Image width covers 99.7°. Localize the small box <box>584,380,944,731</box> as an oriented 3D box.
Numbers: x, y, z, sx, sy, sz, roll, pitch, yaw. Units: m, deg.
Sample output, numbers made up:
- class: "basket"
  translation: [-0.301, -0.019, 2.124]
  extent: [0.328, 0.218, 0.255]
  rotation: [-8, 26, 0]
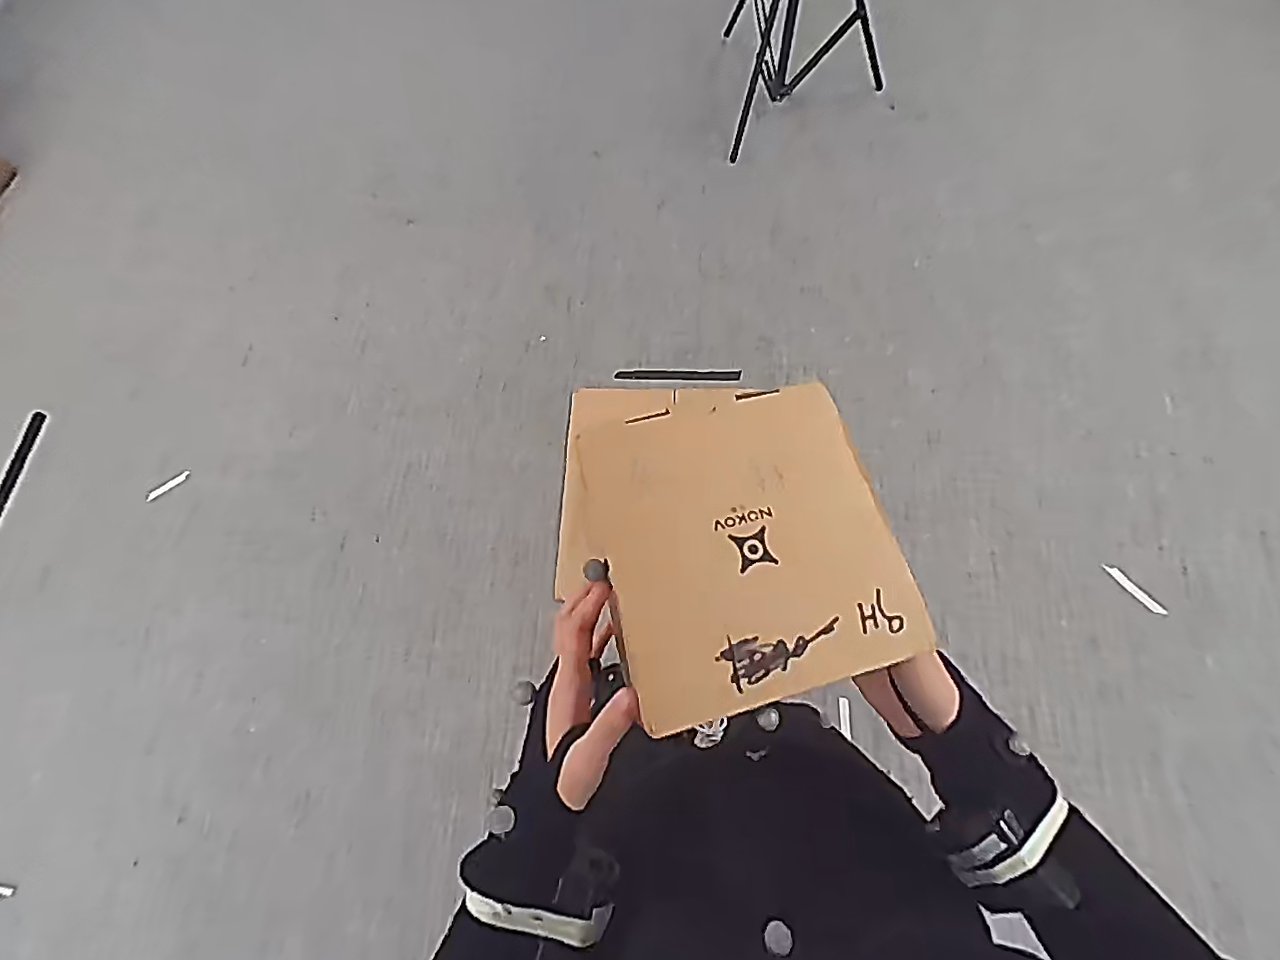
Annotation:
- class: "small box"
  translation: [0.059, 0.060, 0.380]
  extent: [0.168, 0.176, 0.179]
  rotation: [-14, 70, -8]
